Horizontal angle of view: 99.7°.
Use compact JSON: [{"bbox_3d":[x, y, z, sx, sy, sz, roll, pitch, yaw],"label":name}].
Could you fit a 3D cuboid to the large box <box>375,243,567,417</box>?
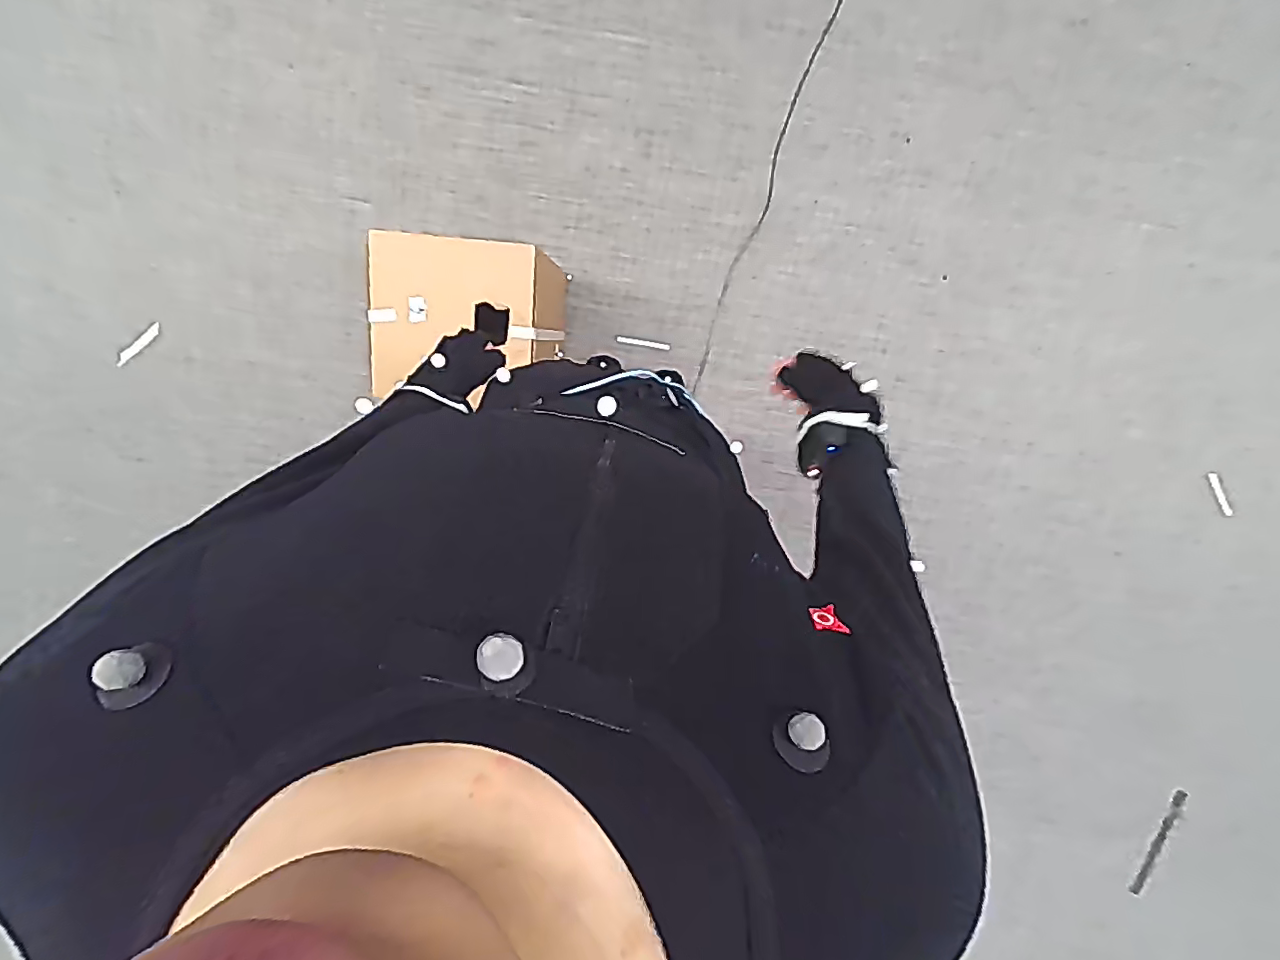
[{"bbox_3d":[-0.353,-0.335,1.226,0.320,0.408,0.320,6,105,-1],"label":"large box"}]
